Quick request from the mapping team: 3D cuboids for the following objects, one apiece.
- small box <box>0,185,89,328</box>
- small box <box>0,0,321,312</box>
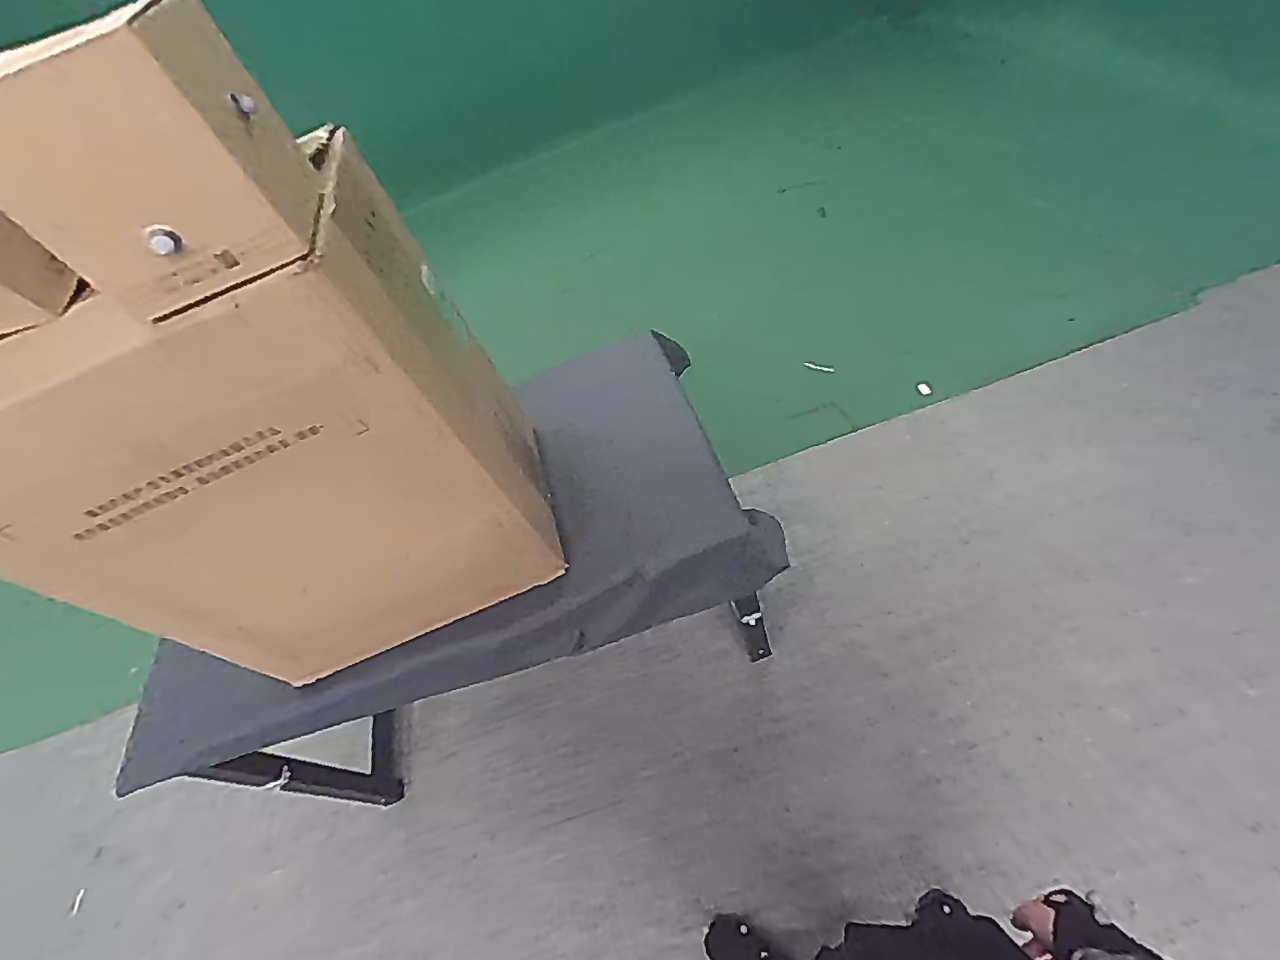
[{"bbox_3d":[-0.680,-0.255,0.514,0.179,0.176,0.168,-11,64,8],"label":"small box"},{"bbox_3d":[-0.407,-0.279,0.464,0.168,0.176,0.179,-23,53,1],"label":"small box"}]
